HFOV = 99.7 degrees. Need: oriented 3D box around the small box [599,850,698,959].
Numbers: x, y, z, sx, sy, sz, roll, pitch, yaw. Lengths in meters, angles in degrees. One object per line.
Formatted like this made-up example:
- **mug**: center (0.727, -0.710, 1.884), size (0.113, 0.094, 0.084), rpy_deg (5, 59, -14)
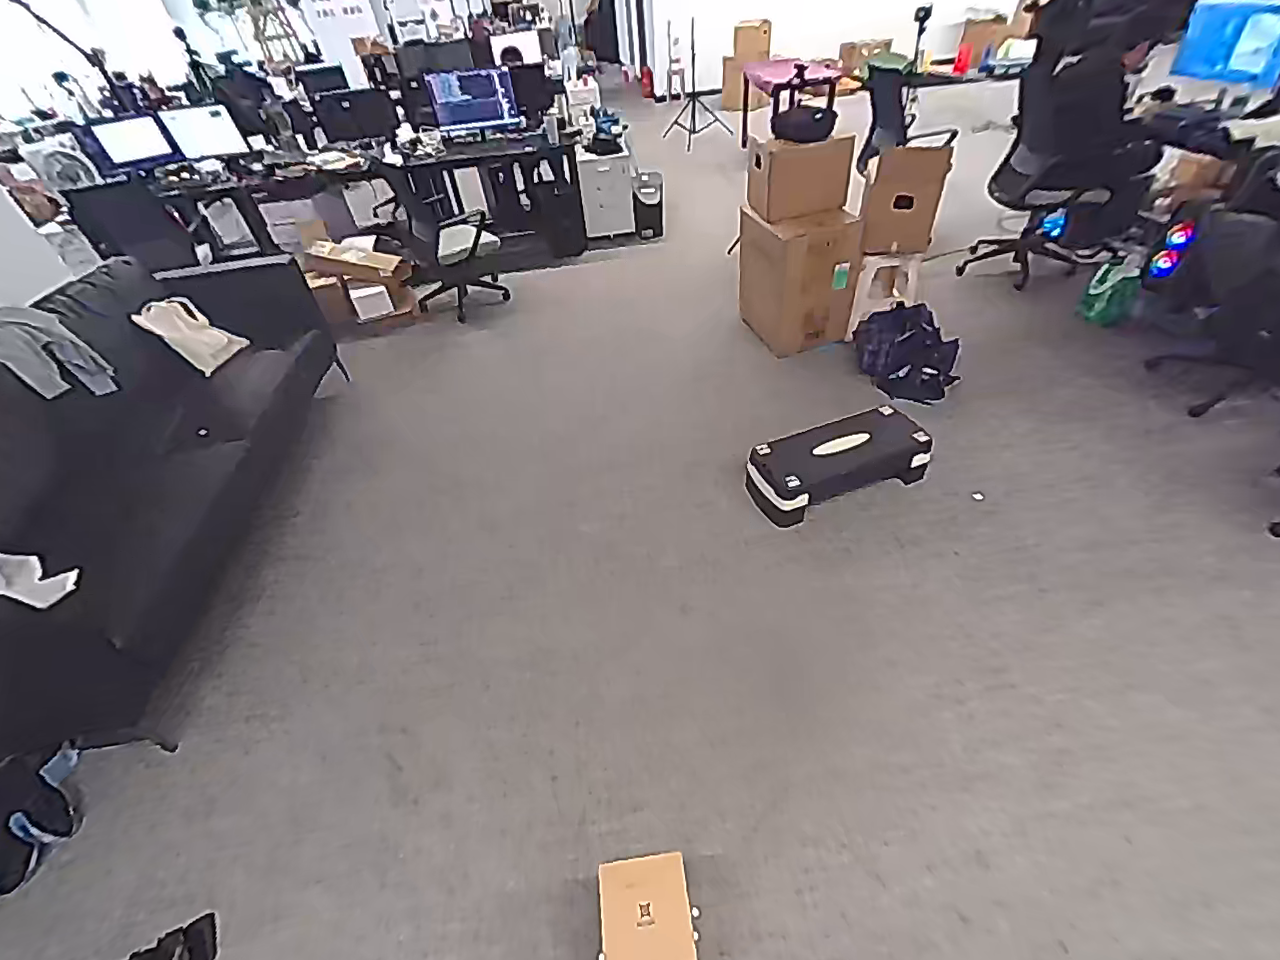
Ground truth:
- **small box**: center (0.017, 0.842, 1.035), size (0.168, 0.176, 0.179), rpy_deg (-8, 41, -2)
